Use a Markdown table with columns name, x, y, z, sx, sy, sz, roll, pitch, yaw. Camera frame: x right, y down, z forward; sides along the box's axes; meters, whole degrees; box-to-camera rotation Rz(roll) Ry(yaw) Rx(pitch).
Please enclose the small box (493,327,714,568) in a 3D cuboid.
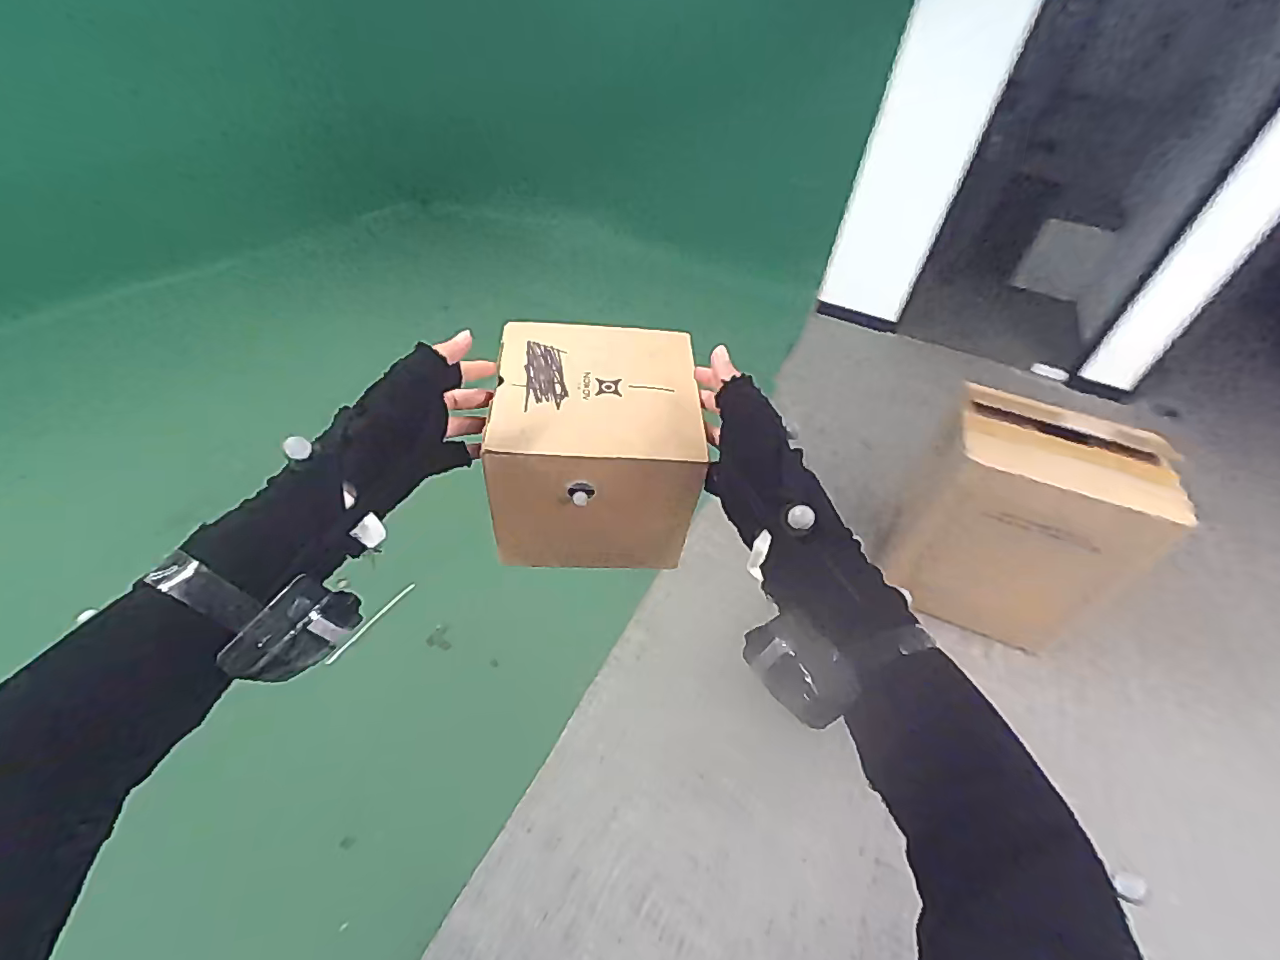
| name | x | y | z | sx | sy | sz | roll | pitch | yaw |
| --- | --- | --- | --- | --- | --- | --- | --- | --- | --- |
| small box | -0.037 | -0.026 | 0.528 | 0.179 | 0.176 | 0.168 | 3 | 51 | -7 |
